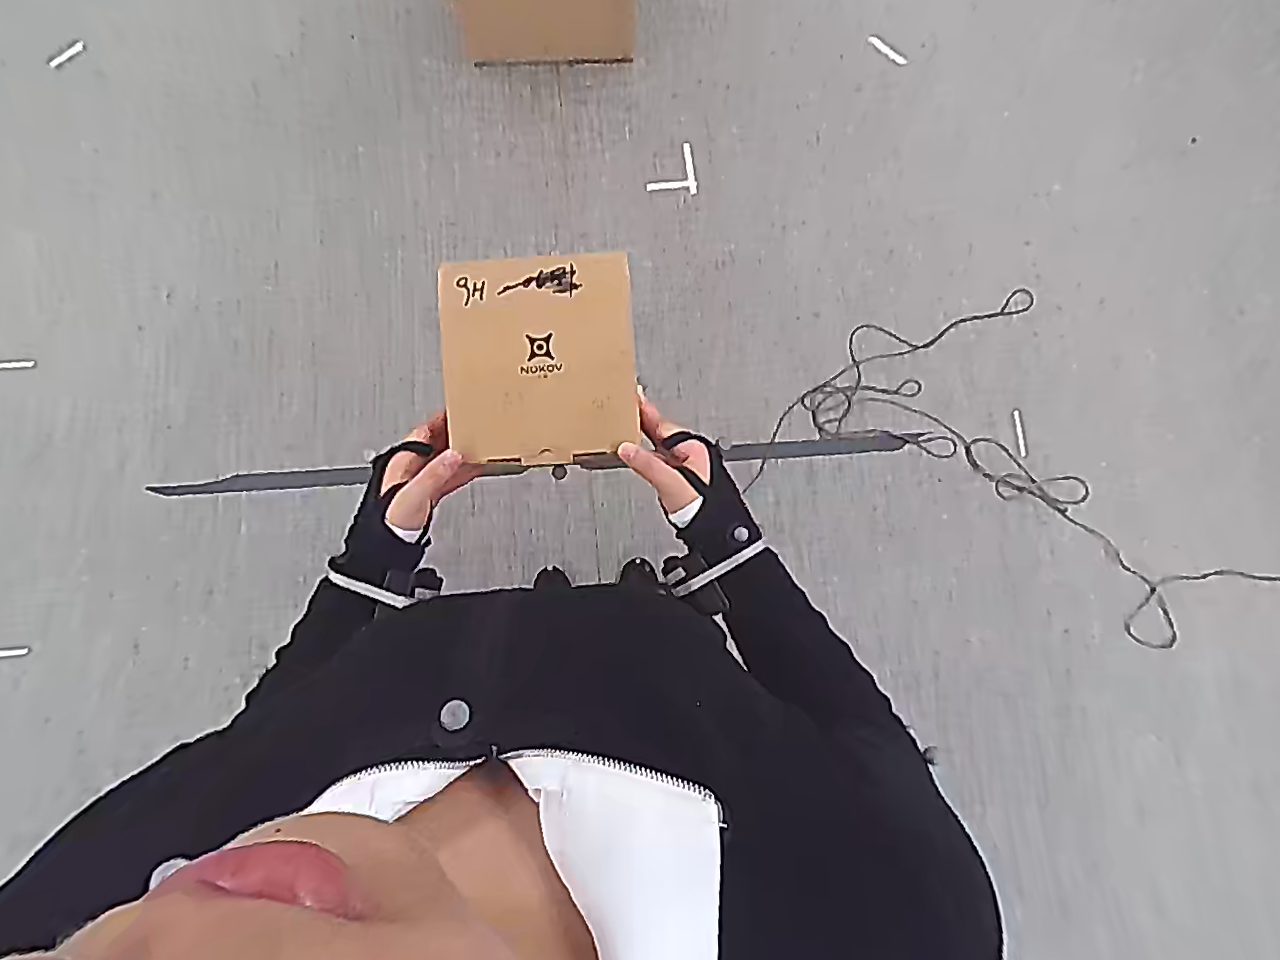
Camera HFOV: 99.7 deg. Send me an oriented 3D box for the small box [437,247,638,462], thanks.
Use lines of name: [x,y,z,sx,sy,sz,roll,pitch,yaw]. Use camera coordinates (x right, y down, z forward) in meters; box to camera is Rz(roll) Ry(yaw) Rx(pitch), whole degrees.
small box: [-0.088,-0.111,0.545,0.168,0.176,0.179,-4,91,-1]
